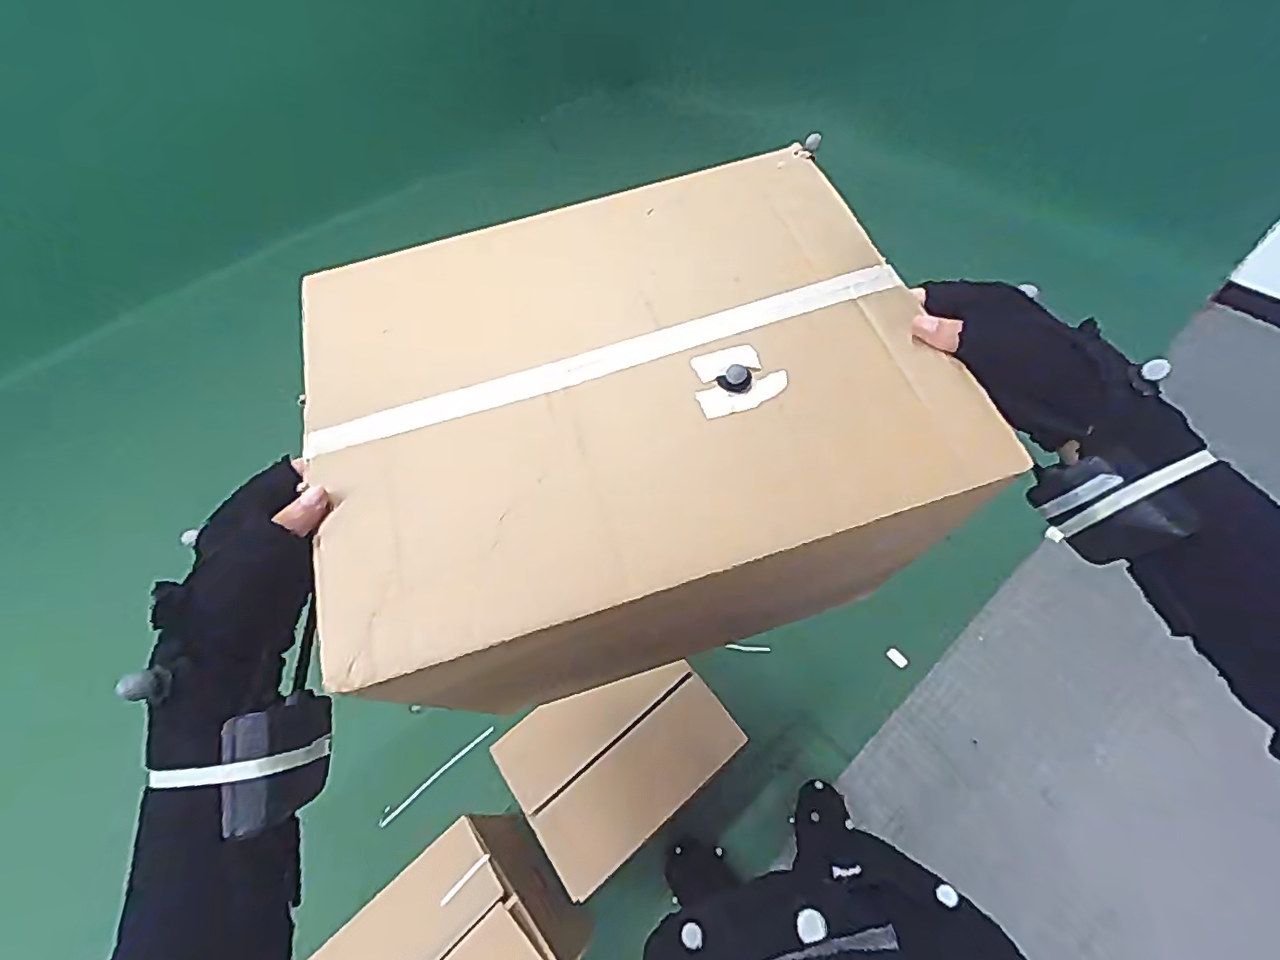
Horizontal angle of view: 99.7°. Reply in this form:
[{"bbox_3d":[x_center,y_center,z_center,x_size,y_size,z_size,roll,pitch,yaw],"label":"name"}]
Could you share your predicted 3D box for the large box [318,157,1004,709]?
[{"bbox_3d":[-0.008,-0.017,0.499,0.408,0.320,0.320,-17,65,-5],"label":"large box"}]
